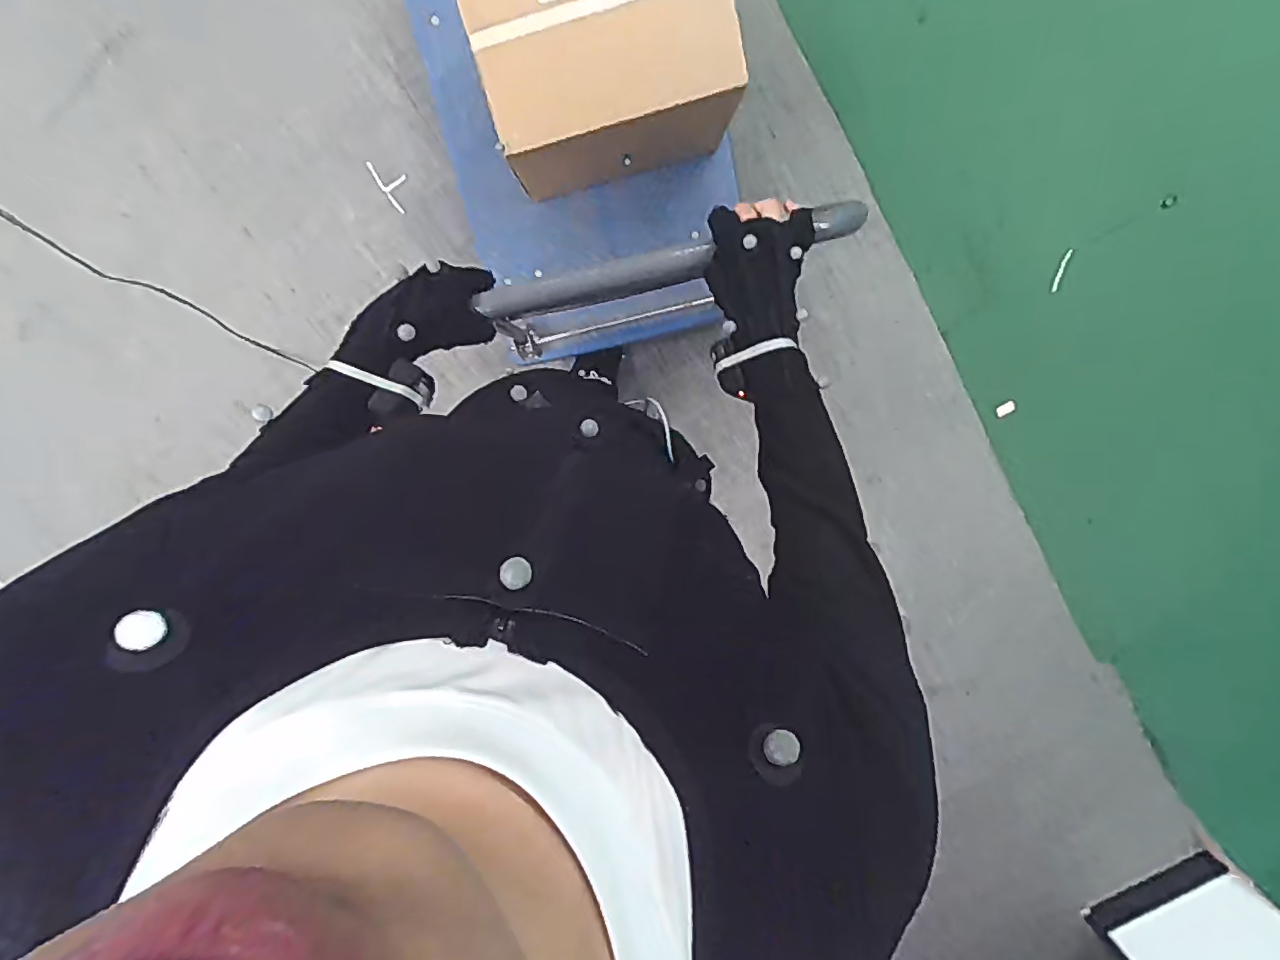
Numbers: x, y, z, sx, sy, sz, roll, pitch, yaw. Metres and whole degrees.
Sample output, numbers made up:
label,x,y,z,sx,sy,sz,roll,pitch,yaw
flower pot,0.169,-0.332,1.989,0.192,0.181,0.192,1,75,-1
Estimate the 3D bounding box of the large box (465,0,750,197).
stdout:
label,x,y,z,sx,sy,sz,roll,pitch,yaw
large box,-0.057,-0.760,0.973,0.408,0.320,0.320,-16,104,4
